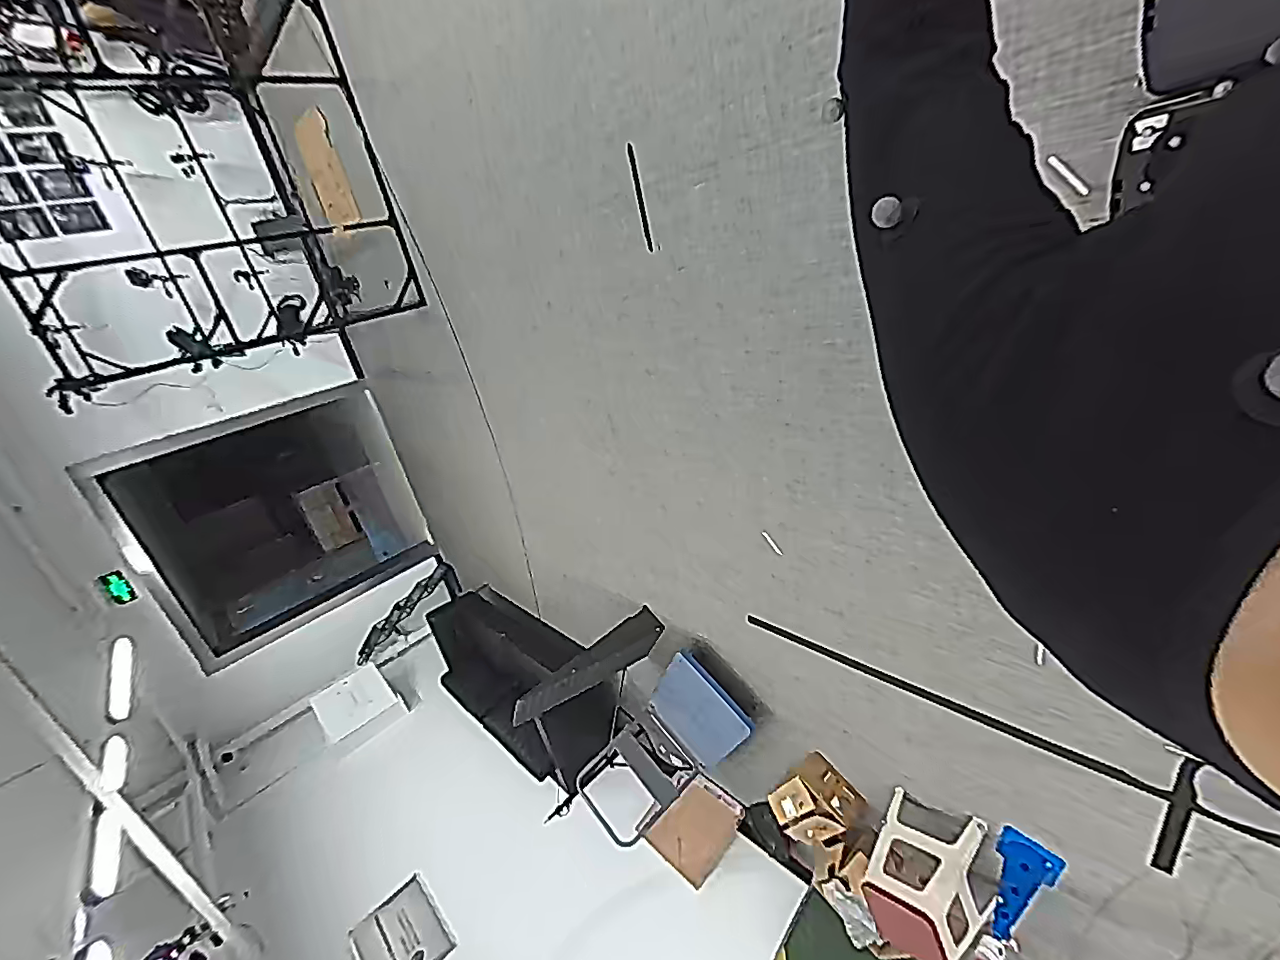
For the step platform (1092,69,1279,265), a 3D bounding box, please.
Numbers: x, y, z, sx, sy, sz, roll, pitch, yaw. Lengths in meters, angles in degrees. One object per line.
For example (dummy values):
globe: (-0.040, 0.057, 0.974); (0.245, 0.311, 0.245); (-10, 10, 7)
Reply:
step platform: (1.190, -0.557, 0.891); (0.684, 0.204, 0.286); (12, 123, 49)
